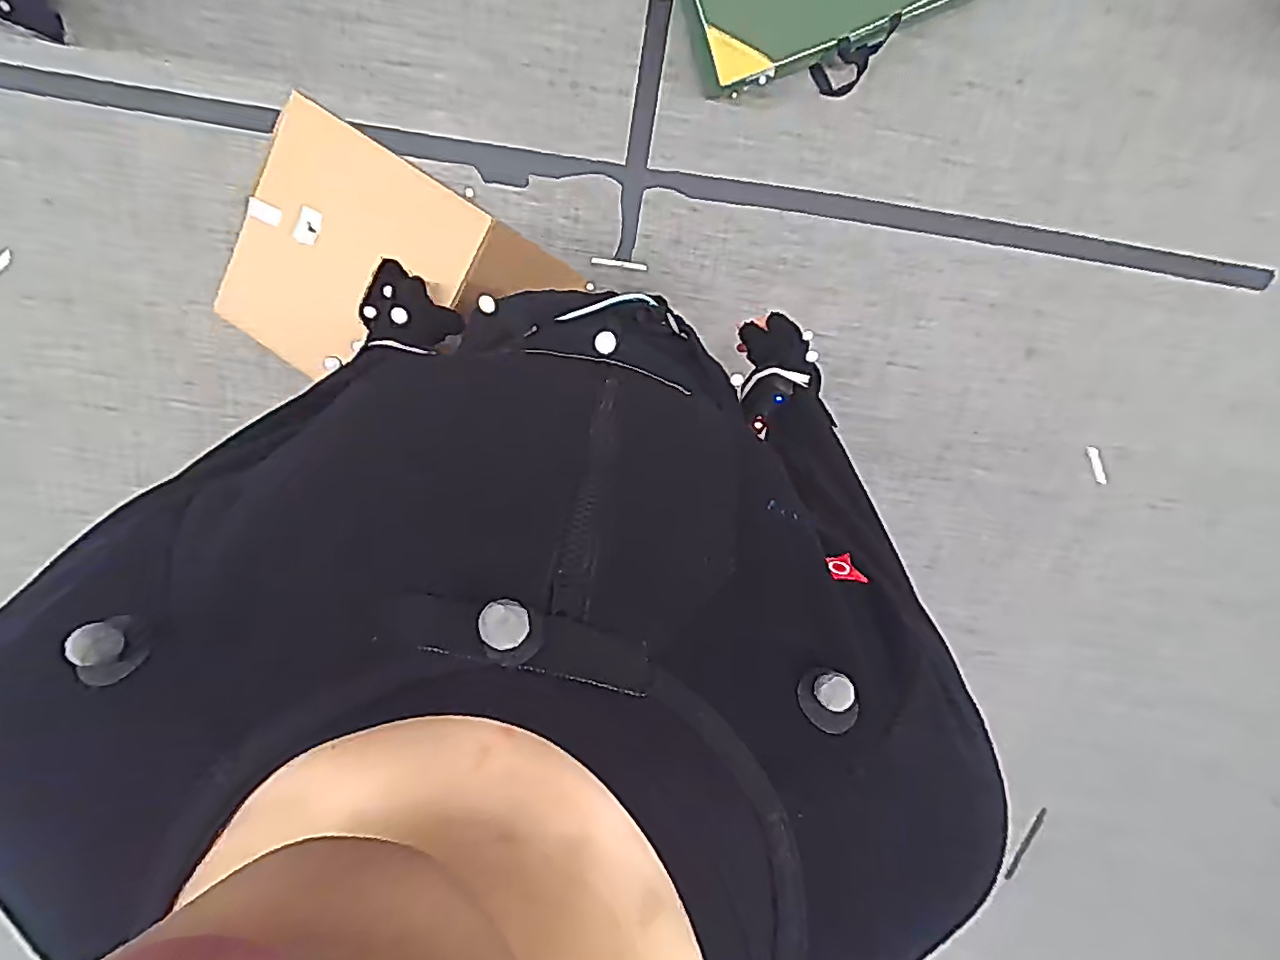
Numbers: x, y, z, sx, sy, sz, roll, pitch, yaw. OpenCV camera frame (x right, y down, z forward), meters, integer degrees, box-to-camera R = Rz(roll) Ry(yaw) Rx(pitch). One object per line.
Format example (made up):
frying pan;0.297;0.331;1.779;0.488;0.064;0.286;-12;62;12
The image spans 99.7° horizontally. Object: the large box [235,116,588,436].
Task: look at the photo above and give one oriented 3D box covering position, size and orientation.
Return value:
large box;-0.341;-0.303;0.901;0.320;0.408;0.320;34;105;3
